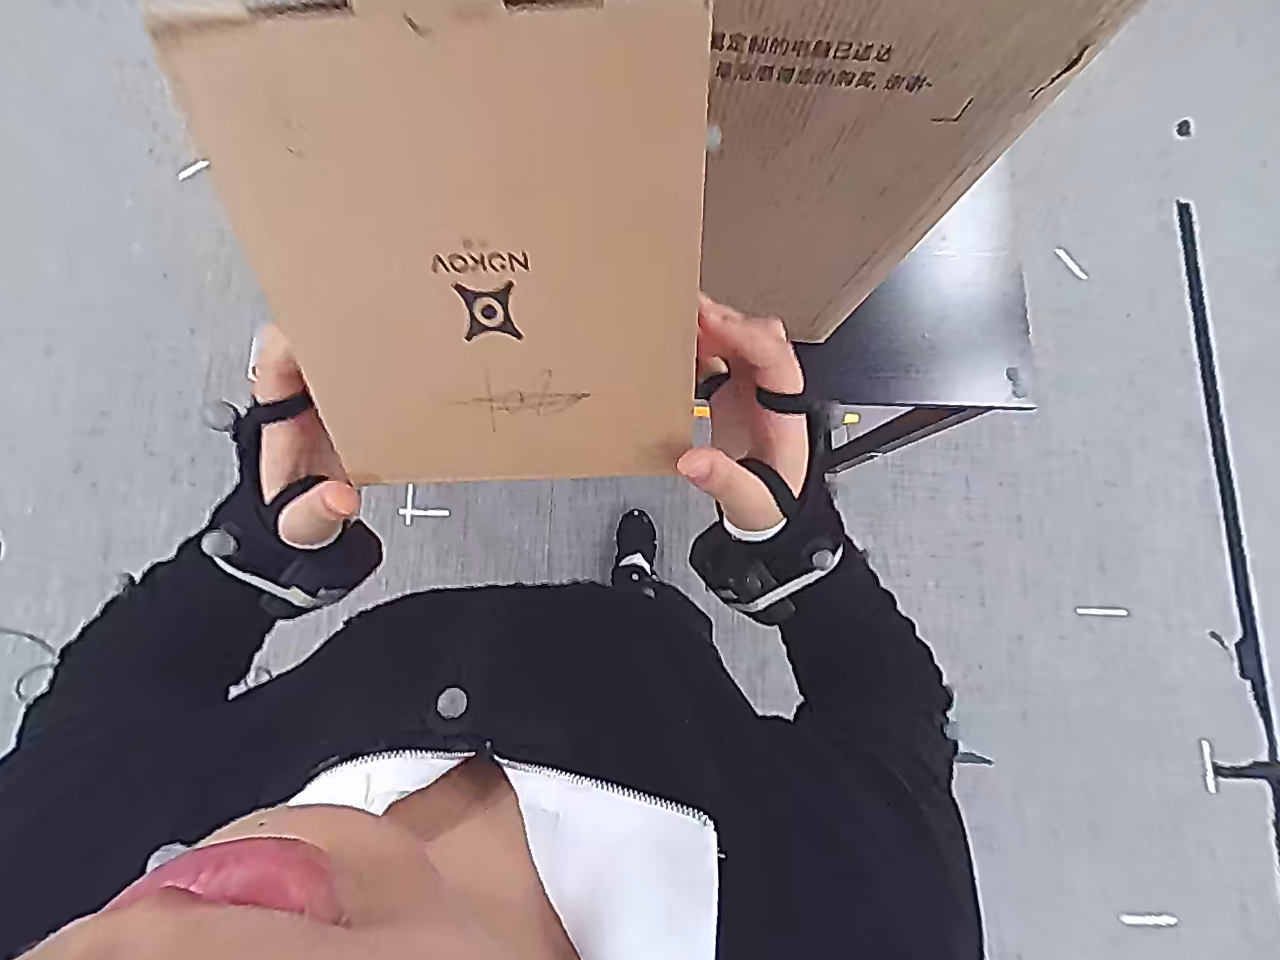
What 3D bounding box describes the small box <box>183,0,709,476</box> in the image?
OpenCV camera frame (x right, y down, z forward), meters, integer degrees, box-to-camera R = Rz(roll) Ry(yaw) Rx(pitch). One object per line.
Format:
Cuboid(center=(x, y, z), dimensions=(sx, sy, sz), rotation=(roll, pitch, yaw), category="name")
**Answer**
Cuboid(center=(-0.061, -0.122, 0.279), dimensions=(0.168, 0.179, 0.176), rotation=(-2, 38, 0), category="small box")
